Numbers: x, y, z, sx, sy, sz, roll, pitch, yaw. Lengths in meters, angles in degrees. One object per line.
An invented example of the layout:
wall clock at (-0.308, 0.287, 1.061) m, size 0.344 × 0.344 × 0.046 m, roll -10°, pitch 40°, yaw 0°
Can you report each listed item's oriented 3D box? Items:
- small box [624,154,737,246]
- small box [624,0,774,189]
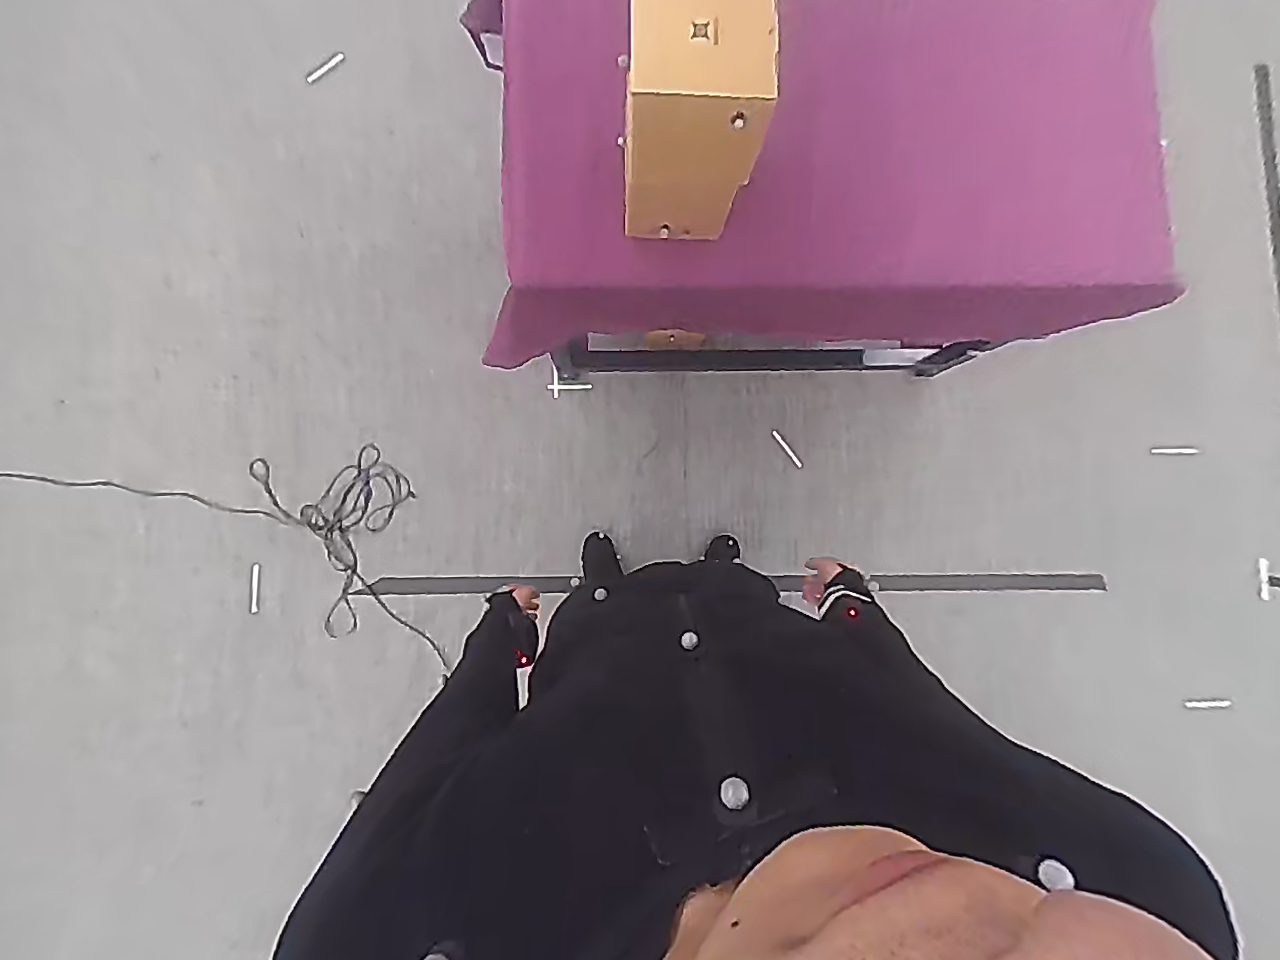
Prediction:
small box at (0.058, -0.505, 0.872) m, size 0.168 × 0.176 × 0.179 m, roll 0°, pitch 87°, yaw -2°
small box at (0.068, -0.510, 0.710) m, size 0.179 × 0.176 × 0.168 m, roll 1°, pitch 86°, yaw -2°
